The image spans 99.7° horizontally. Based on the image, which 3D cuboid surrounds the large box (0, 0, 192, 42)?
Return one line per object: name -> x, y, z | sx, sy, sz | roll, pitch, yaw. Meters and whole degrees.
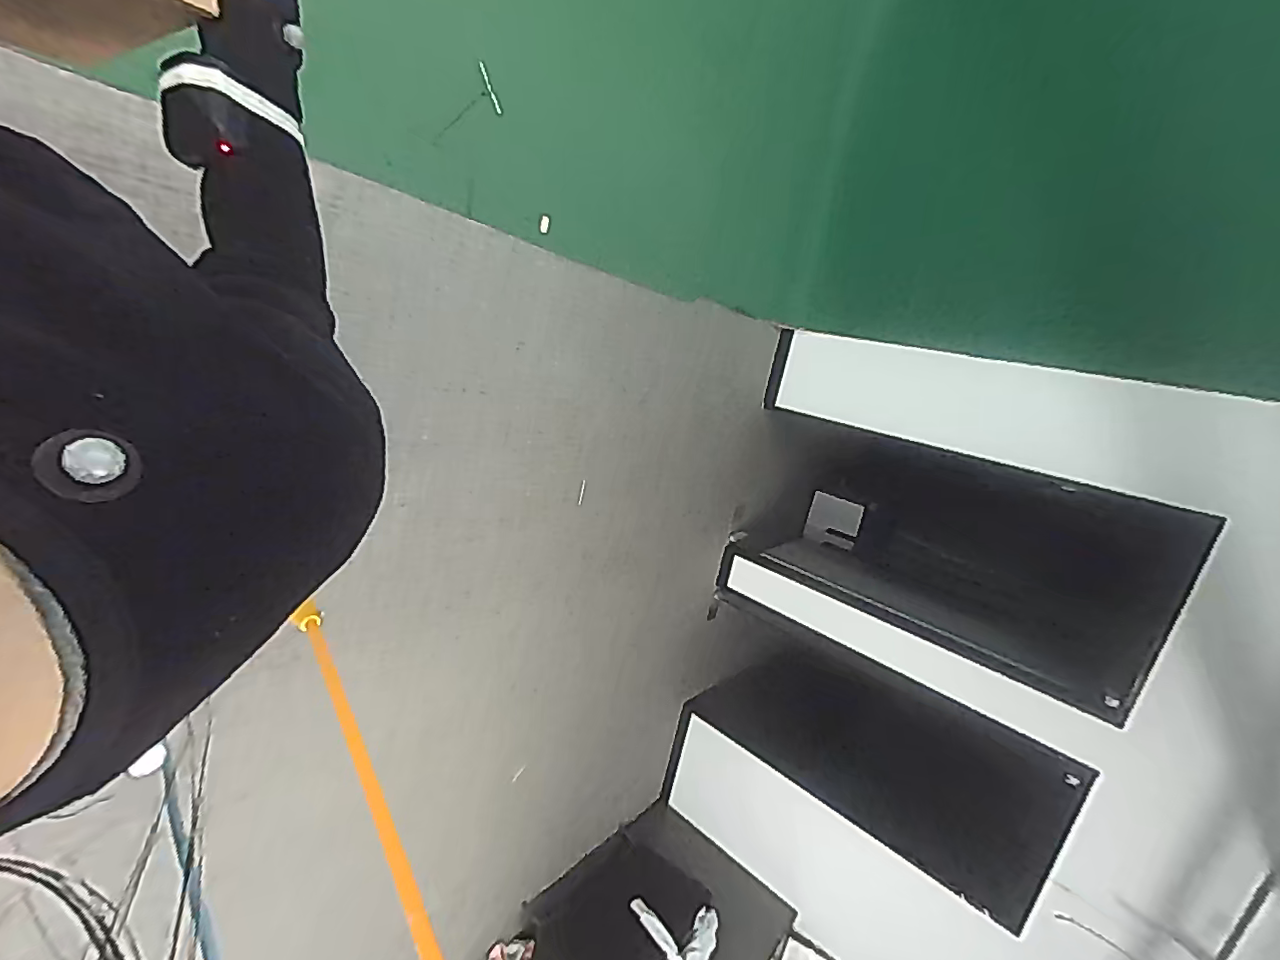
large box -> -0.527, -0.494, 0.264 | 0.408, 0.320, 0.320 | -18, 120, -54
